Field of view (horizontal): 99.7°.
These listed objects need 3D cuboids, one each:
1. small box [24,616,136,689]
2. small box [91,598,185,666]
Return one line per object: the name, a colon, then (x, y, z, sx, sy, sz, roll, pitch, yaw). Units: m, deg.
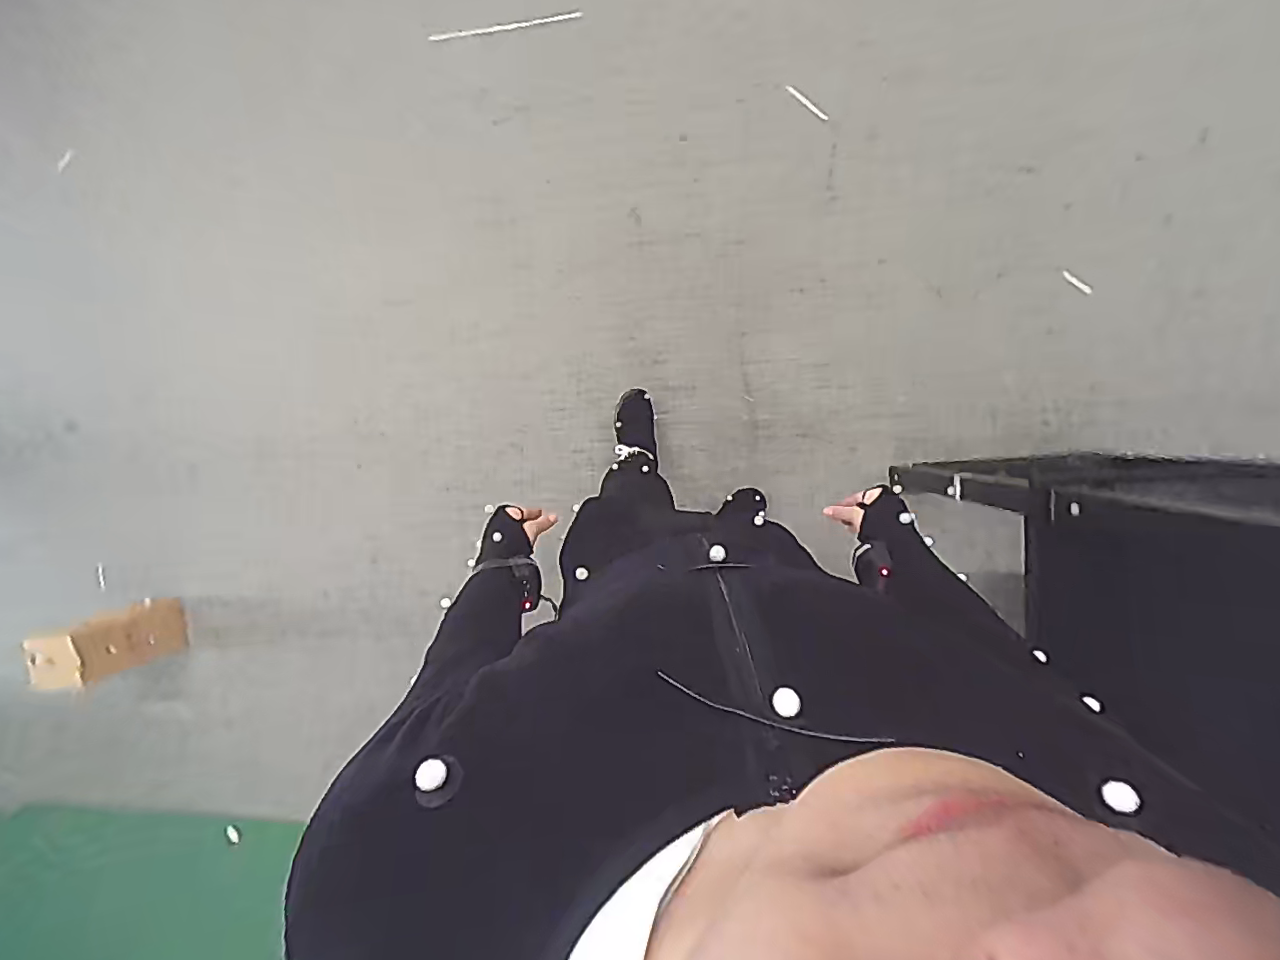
small box: (-1.703, 0.524, 1.659, 0.179, 0.176, 0.168, -5, 93, 7)
small box: (-1.681, 0.508, 1.820, 0.168, 0.176, 0.179, -2, 93, 7)
